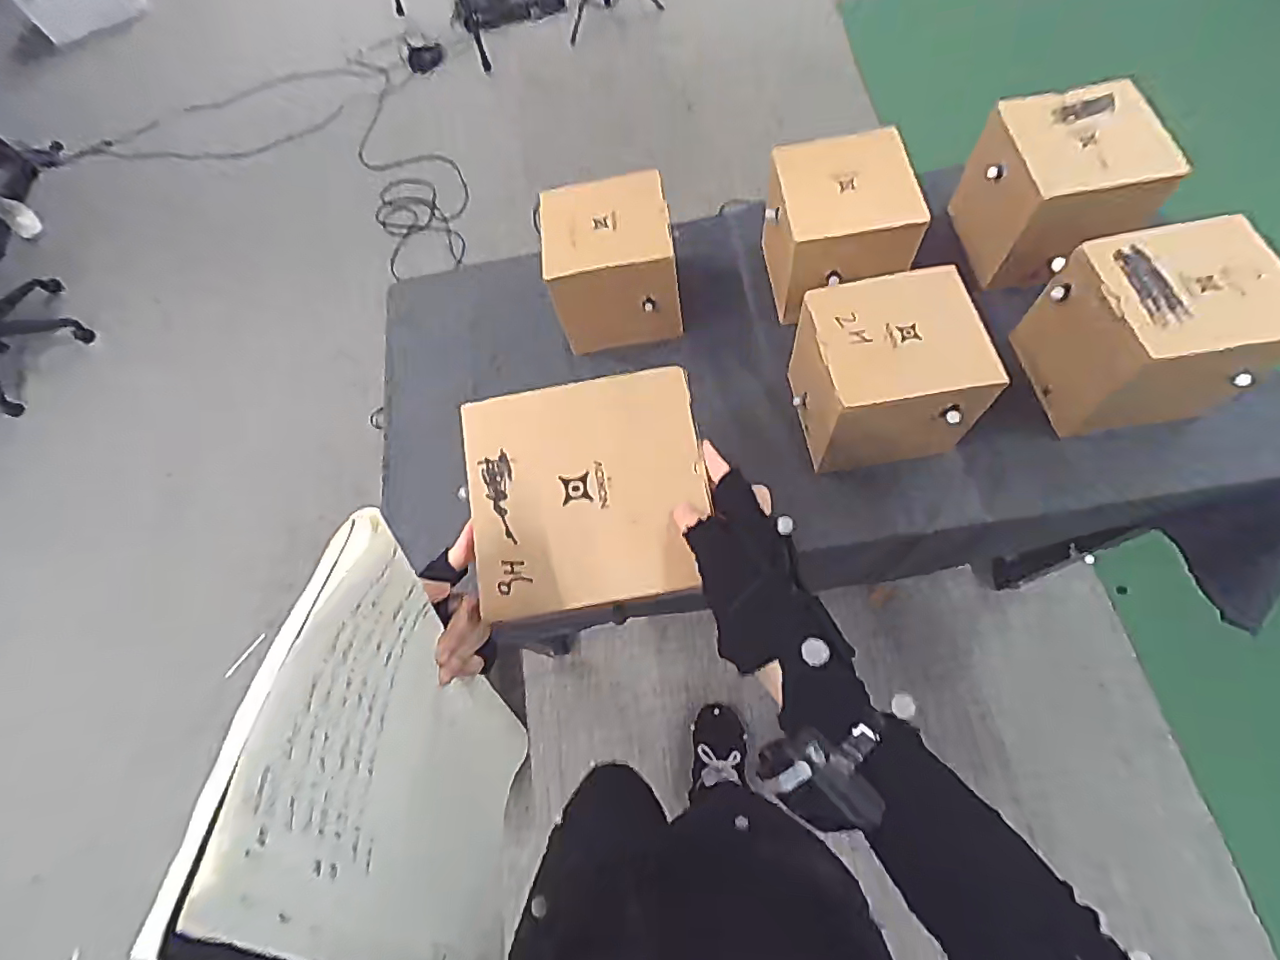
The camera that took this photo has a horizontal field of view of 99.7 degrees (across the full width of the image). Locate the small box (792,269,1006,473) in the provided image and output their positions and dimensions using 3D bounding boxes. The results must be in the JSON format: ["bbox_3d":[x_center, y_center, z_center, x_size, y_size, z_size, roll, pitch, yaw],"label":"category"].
[{"bbox_3d":[0.299,-0.124,0.671,0.179,0.176,0.168,-10,65,6],"label":"small box"}]

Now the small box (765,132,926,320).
[{"bbox_3d":[0.277,-0.348,0.773,0.168,0.176,0.179,-7,66,6],"label":"small box"}]

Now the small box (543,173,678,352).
[{"bbox_3d":[-0.037,-0.313,0.802,0.179,0.176,0.168,-7,66,4],"label":"small box"}]

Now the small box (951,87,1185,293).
[{"bbox_3d":[0.562,-0.390,0.745,0.168,0.176,0.179,-7,67,6],"label":"small box"}]
